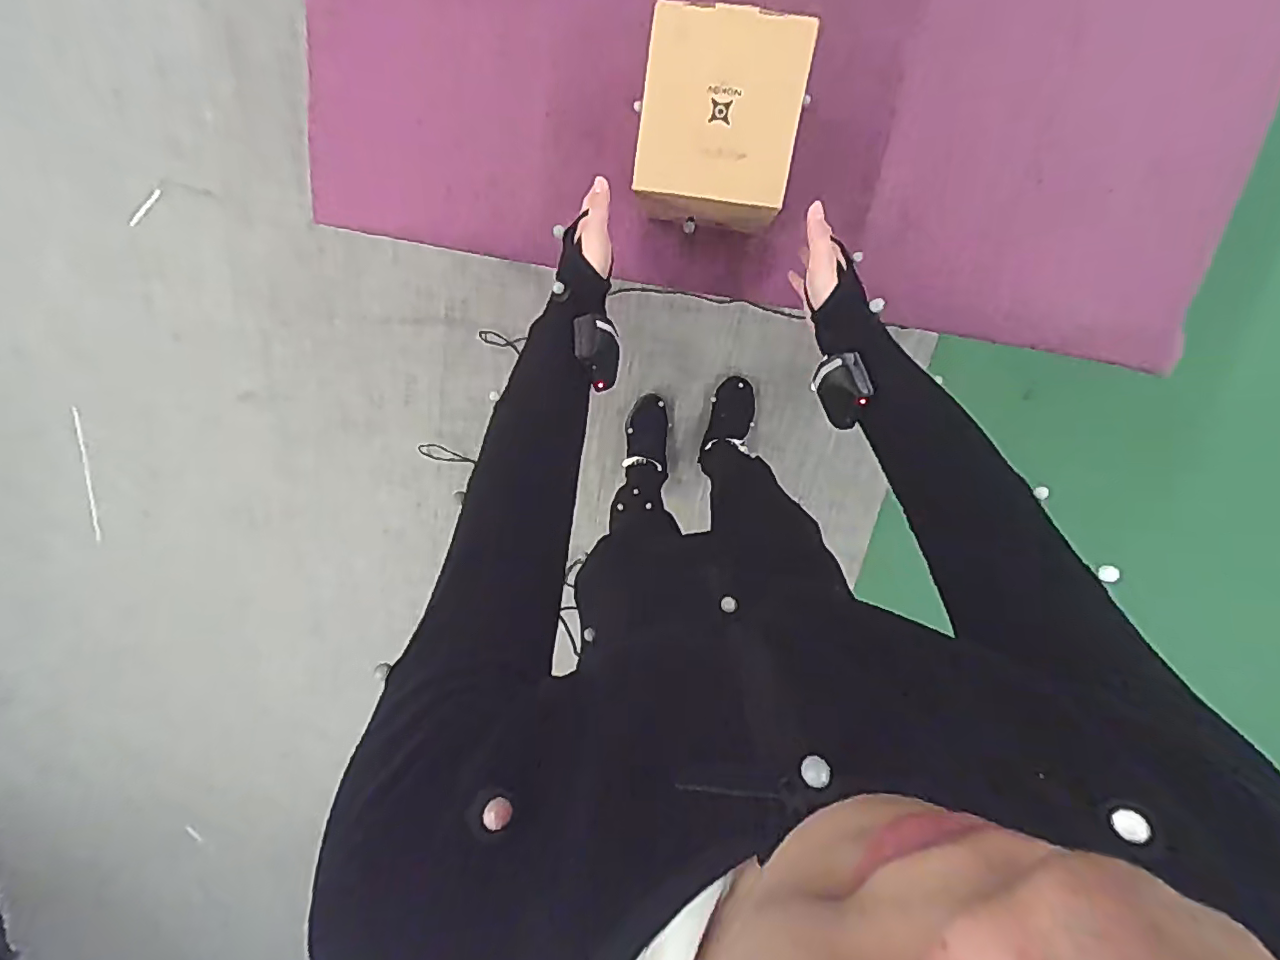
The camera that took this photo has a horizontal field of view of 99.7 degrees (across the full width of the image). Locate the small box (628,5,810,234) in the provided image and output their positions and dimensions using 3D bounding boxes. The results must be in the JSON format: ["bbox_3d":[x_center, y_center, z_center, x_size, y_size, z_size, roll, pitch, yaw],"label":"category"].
[{"bbox_3d":[0.087,-0.410,0.645,0.168,0.176,0.179,10,108,4],"label":"small box"}]
